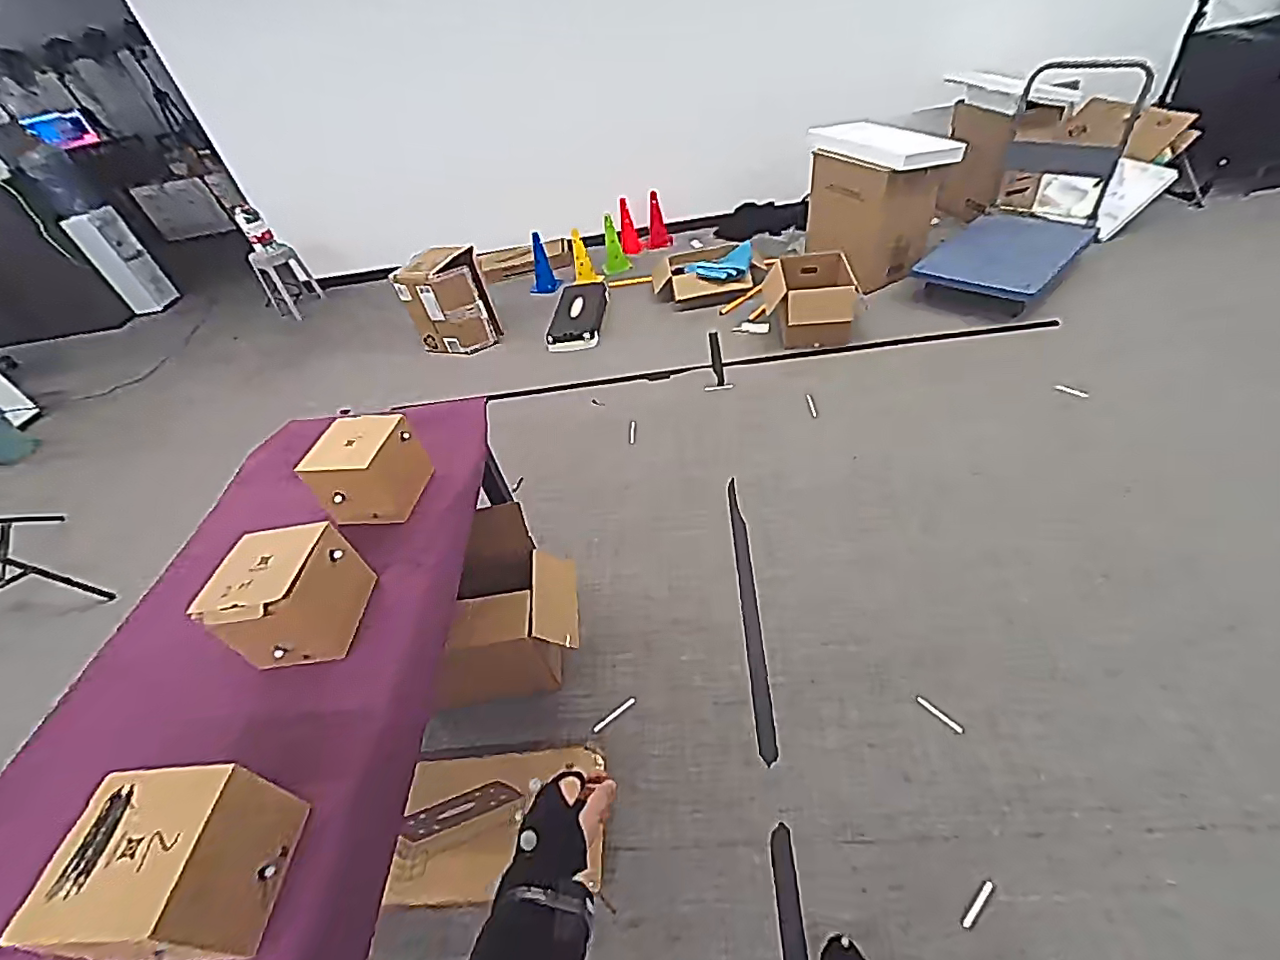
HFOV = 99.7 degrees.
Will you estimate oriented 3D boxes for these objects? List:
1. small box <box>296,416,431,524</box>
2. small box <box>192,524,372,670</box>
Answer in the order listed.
[{"bbox_3d":[-0.582,-0.016,1.170,0.168,0.176,0.179,-3,43,10],"label":"small box"},{"bbox_3d":[-0.599,0.203,0.939,0.168,0.176,0.179,-9,43,7],"label":"small box"}]
